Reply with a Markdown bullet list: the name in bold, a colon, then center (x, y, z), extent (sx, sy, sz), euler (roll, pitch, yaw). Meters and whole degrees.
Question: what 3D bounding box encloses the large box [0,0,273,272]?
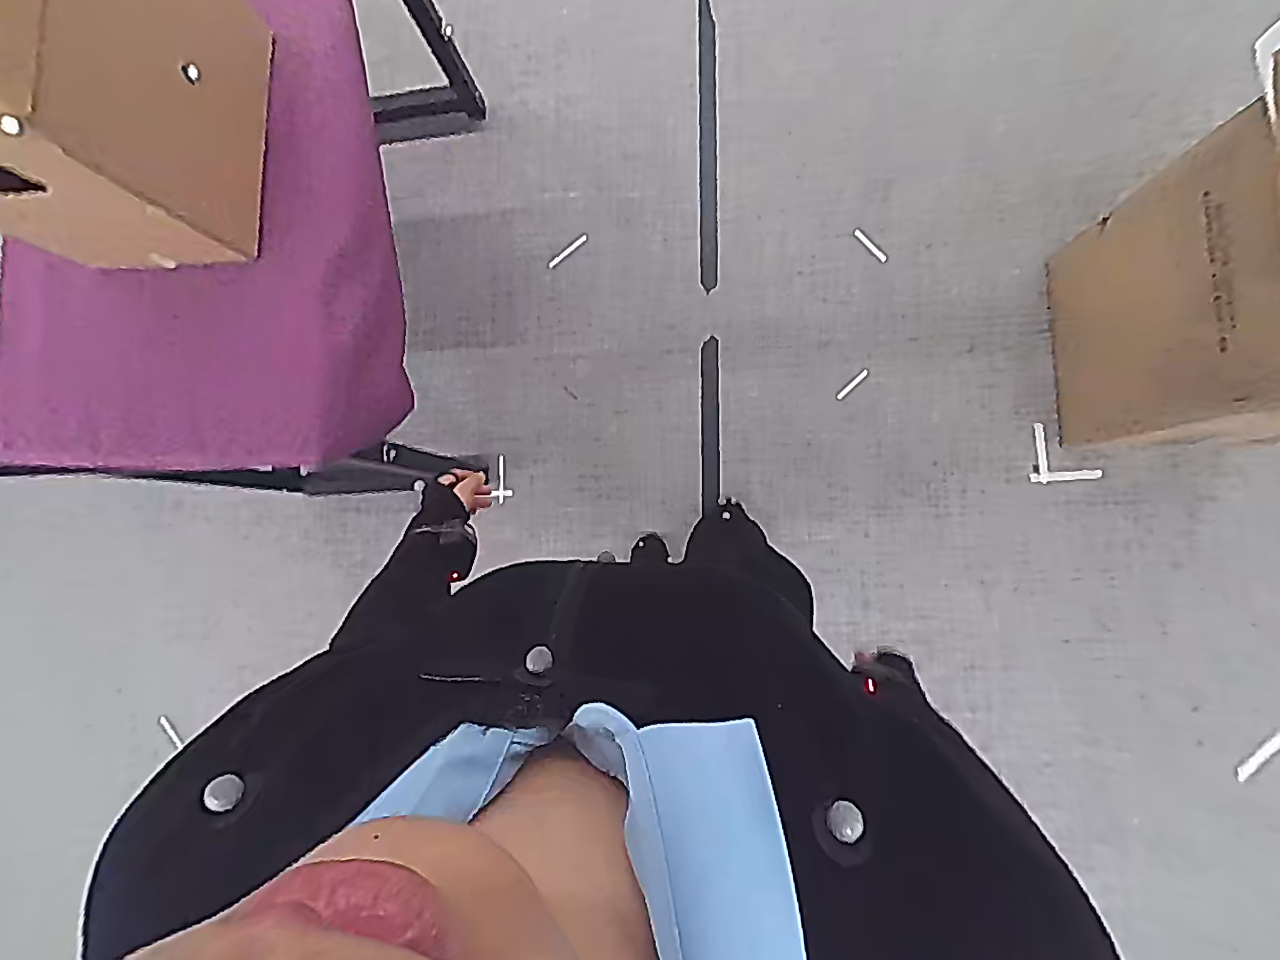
- **large box**: center (-0.778, -0.560, 0.763), extent (0.320, 0.320, 0.408), euler (-1, 86, 8)
